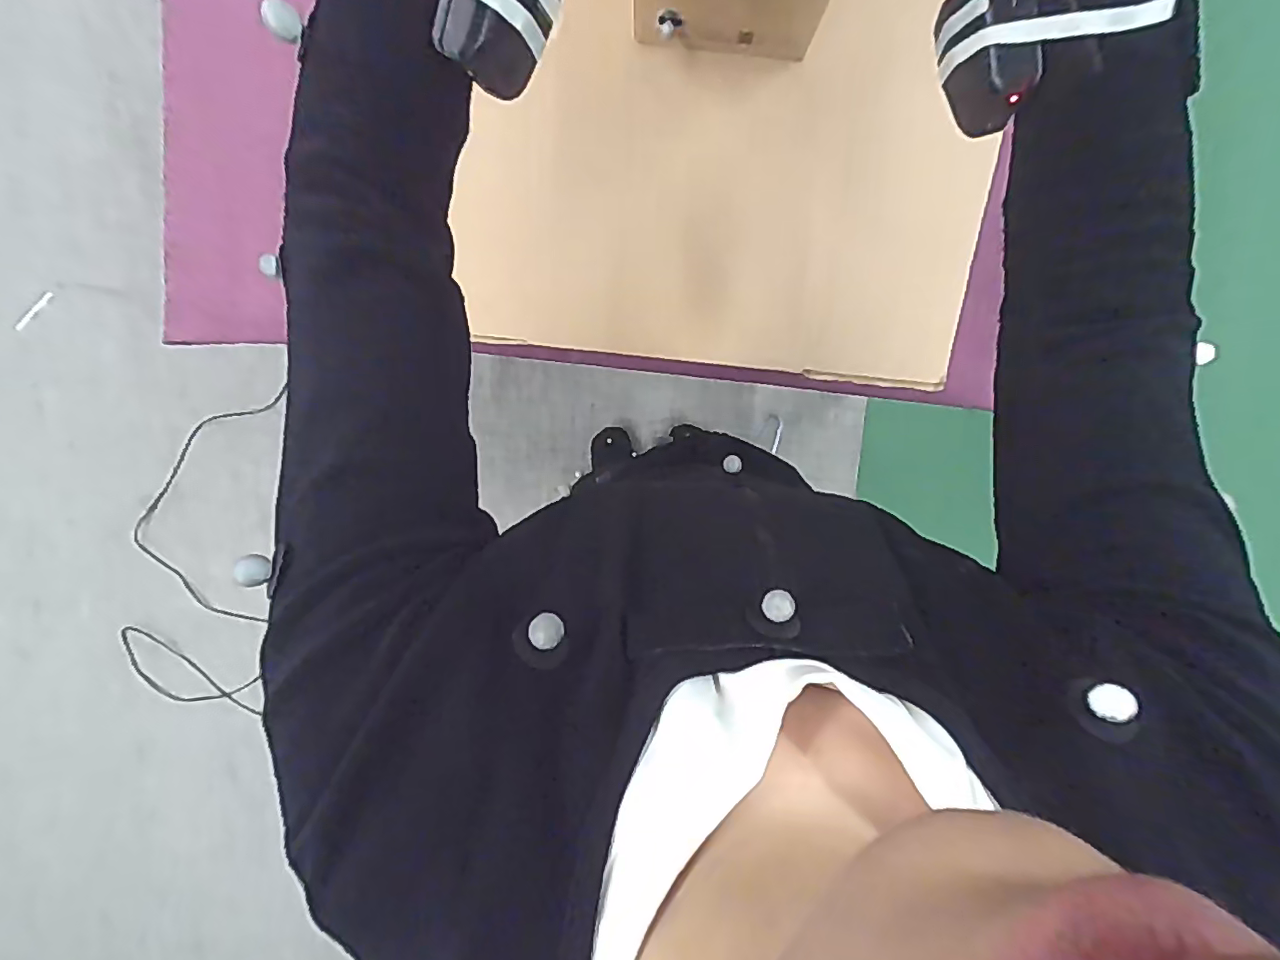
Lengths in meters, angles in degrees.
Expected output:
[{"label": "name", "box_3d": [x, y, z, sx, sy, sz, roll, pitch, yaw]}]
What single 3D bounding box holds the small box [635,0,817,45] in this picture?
[{"label": "small box", "box_3d": [0.081, -0.494, 0.426, 0.168, 0.176, 0.179, 6, 94, -2]}]
